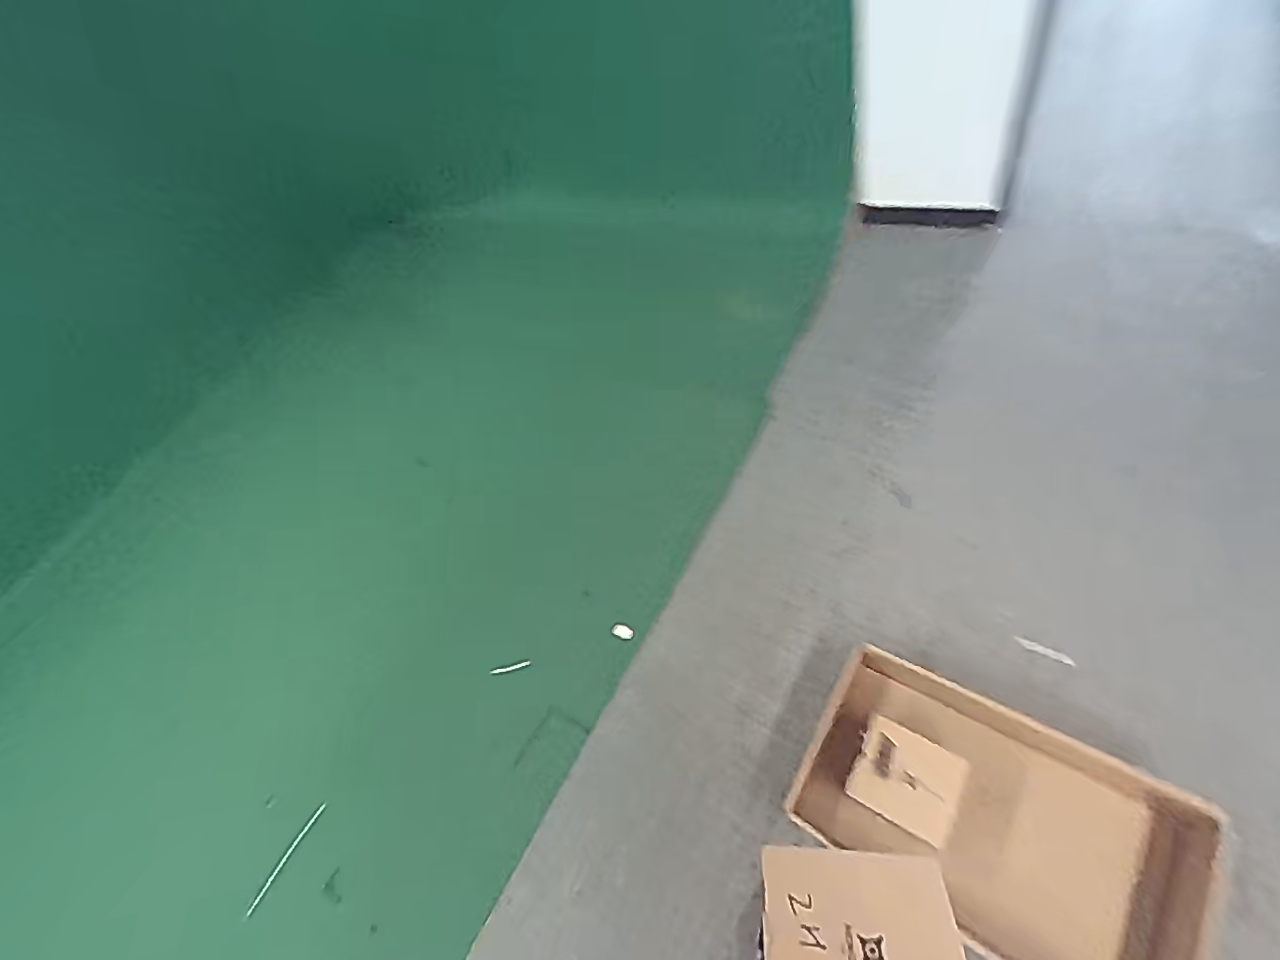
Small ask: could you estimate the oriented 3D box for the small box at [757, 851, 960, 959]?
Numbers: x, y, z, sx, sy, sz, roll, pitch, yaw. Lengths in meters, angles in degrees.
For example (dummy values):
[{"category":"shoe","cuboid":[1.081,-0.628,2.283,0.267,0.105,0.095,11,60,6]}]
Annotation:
[{"category":"small box","cuboid":[0.206,0.496,0.518,0.179,0.176,0.168,-4,27,13]}]
